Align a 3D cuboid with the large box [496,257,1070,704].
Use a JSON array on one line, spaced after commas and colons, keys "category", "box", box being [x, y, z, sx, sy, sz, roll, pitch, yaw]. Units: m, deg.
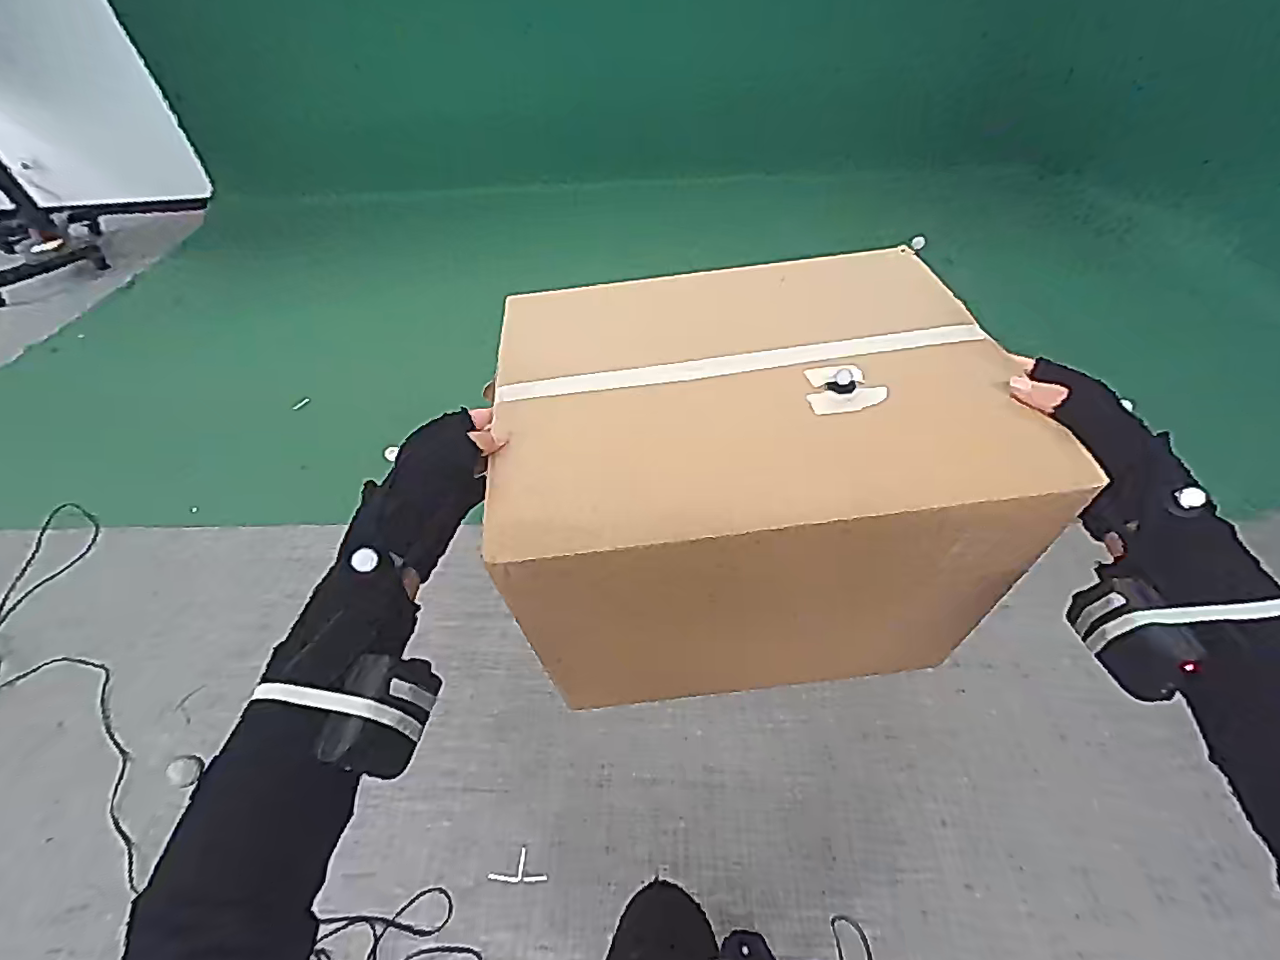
[{"category": "large box", "box": [0.091, 0.008, 0.570, 0.408, 0.320, 0.320, -8, 51, 0]}]
